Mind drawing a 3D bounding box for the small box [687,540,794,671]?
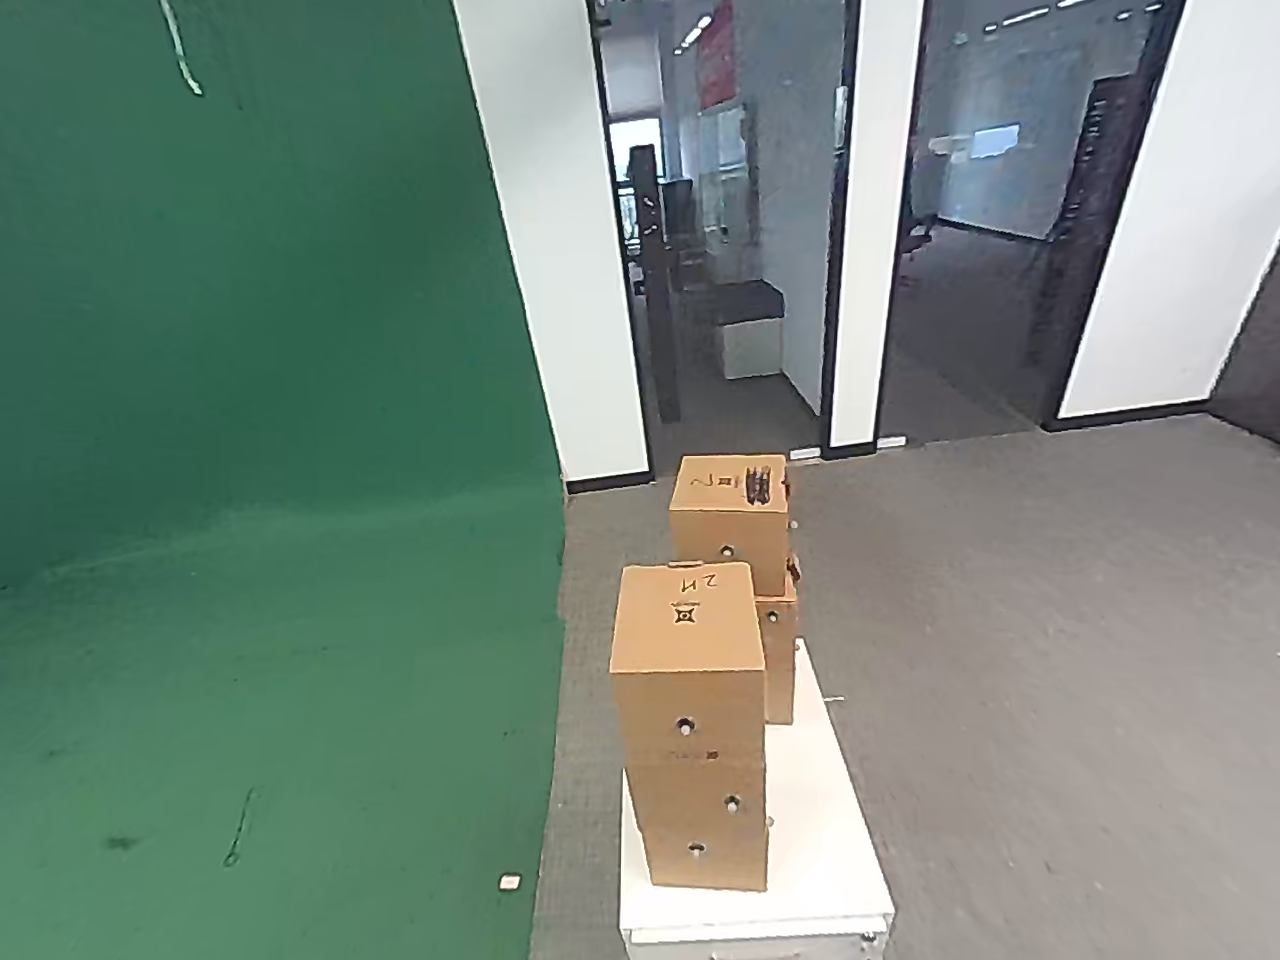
[{"bbox_3d":[0.177,0.225,0.974,0.179,0.176,0.168,-2,32,8],"label":"small box"}]

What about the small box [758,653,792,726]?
[{"bbox_3d":[0.202,0.361,1.061,0.179,0.176,0.168,-2,32,10],"label":"small box"}]

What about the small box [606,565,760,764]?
[{"bbox_3d":[0.059,0.228,0.675,0.168,0.176,0.179,-2,29,6],"label":"small box"}]

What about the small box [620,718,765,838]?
[{"bbox_3d":[0.077,0.370,0.755,0.179,0.176,0.168,-3,29,8],"label":"small box"}]

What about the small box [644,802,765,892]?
[{"bbox_3d":[0.099,0.507,0.840,0.179,0.176,0.168,-2,31,8],"label":"small box"}]
